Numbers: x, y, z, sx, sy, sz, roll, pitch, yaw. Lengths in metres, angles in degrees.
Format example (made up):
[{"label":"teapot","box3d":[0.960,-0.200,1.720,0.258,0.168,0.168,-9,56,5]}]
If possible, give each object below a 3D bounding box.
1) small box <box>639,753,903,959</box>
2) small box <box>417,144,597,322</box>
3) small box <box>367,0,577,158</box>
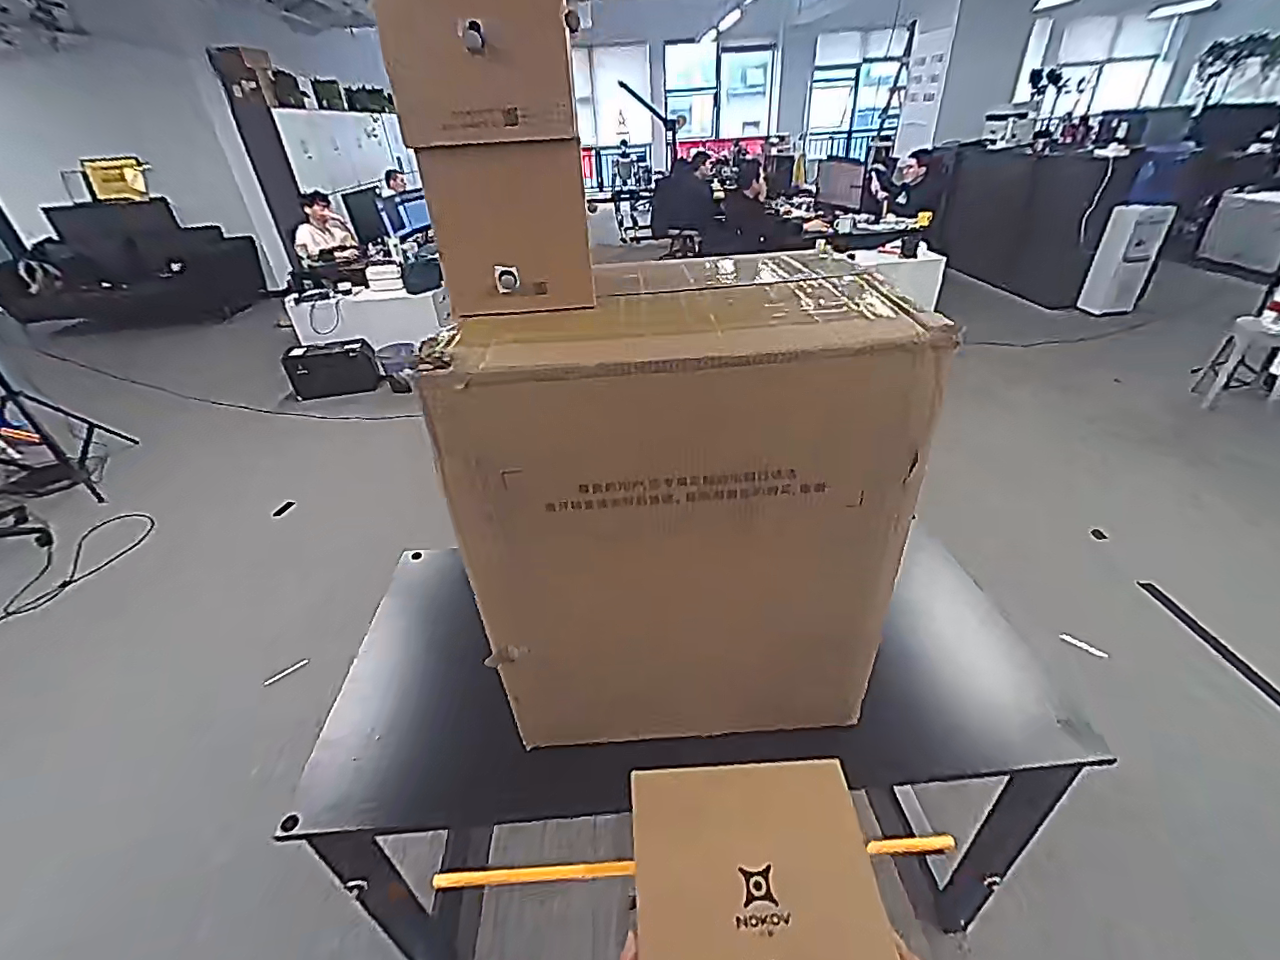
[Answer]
[{"label":"small box","box3d":[0.084,0.339,0.419,0.168,0.176,0.179,-3,41,-1]},{"label":"small box","box3d":[-0.144,-0.298,0.648,0.168,0.176,0.179,-7,33,-4]},{"label":"small box","box3d":[-0.155,-0.427,0.547,0.168,0.176,0.179,-6,33,-3]}]
